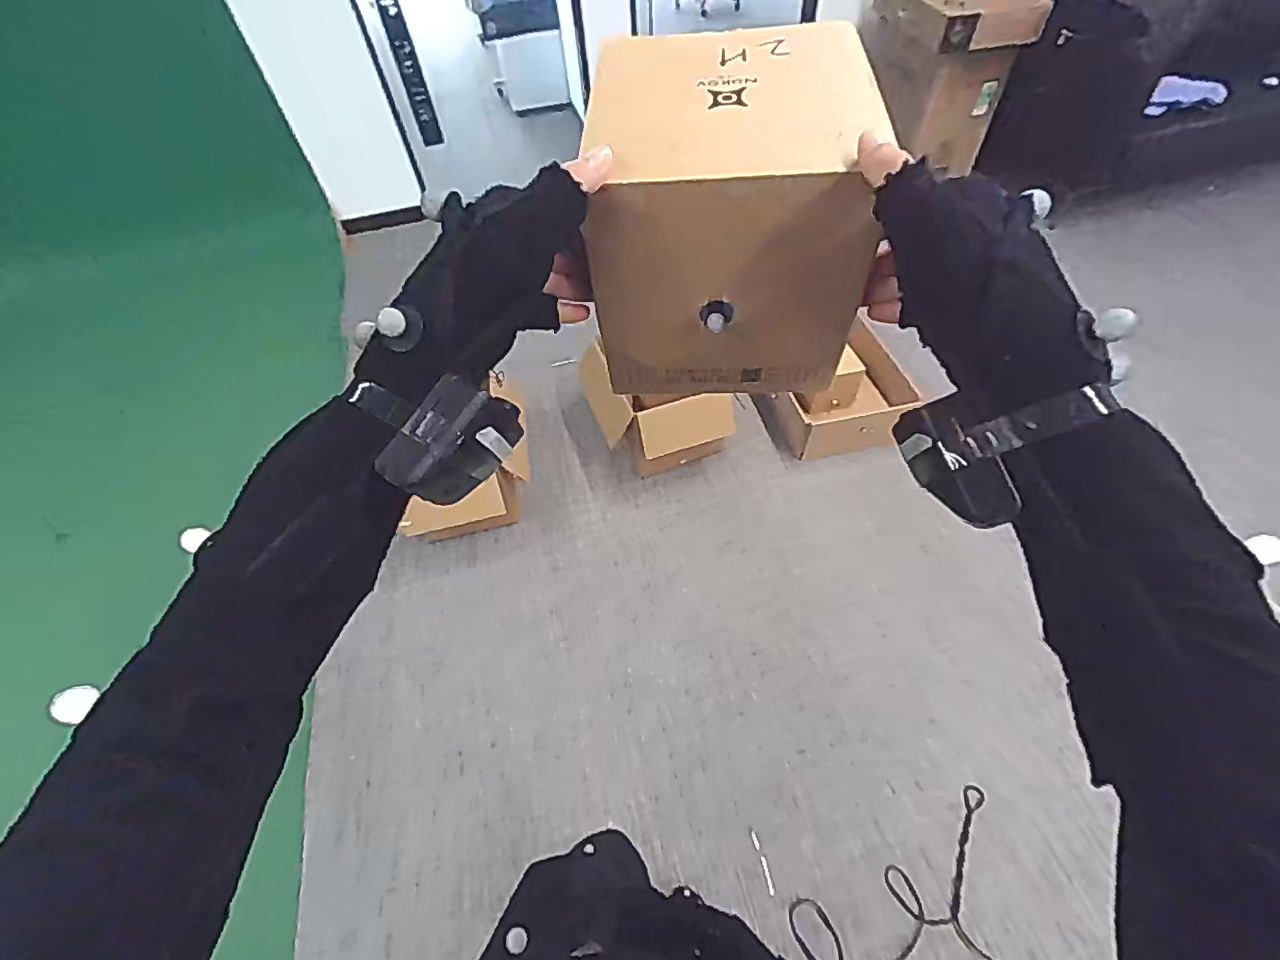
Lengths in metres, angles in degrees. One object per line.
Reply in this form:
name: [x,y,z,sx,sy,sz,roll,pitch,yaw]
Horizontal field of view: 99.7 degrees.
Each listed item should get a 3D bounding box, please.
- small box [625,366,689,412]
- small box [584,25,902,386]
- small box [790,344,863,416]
small box: [0.055,-0.338,1.733,0.168,0.176,0.179,-18,55,-11]
small box: [0.063,-0.182,0.387,0.168,0.176,0.179,1,59,5]
small box: [0.636,-0.350,1.871,0.168,0.176,0.179,-12,52,-6]
